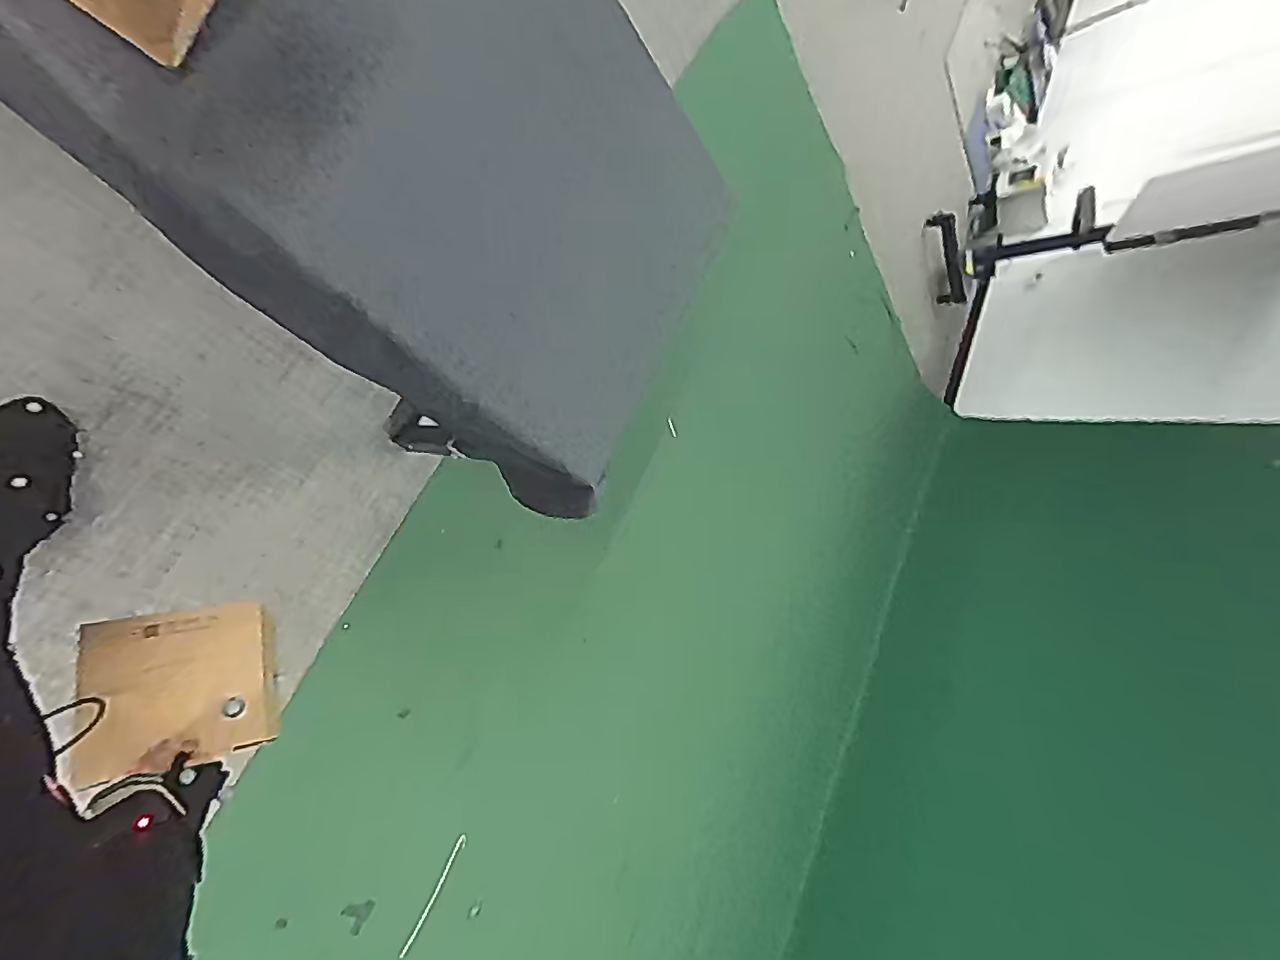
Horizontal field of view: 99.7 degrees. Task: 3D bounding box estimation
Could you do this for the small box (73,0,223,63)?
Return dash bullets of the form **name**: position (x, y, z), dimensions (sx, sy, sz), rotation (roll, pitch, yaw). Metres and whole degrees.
- **small box**: position (-0.375, -0.461, 0.381), dimensions (0.168, 0.176, 0.179), rotation (28, 72, -44)
